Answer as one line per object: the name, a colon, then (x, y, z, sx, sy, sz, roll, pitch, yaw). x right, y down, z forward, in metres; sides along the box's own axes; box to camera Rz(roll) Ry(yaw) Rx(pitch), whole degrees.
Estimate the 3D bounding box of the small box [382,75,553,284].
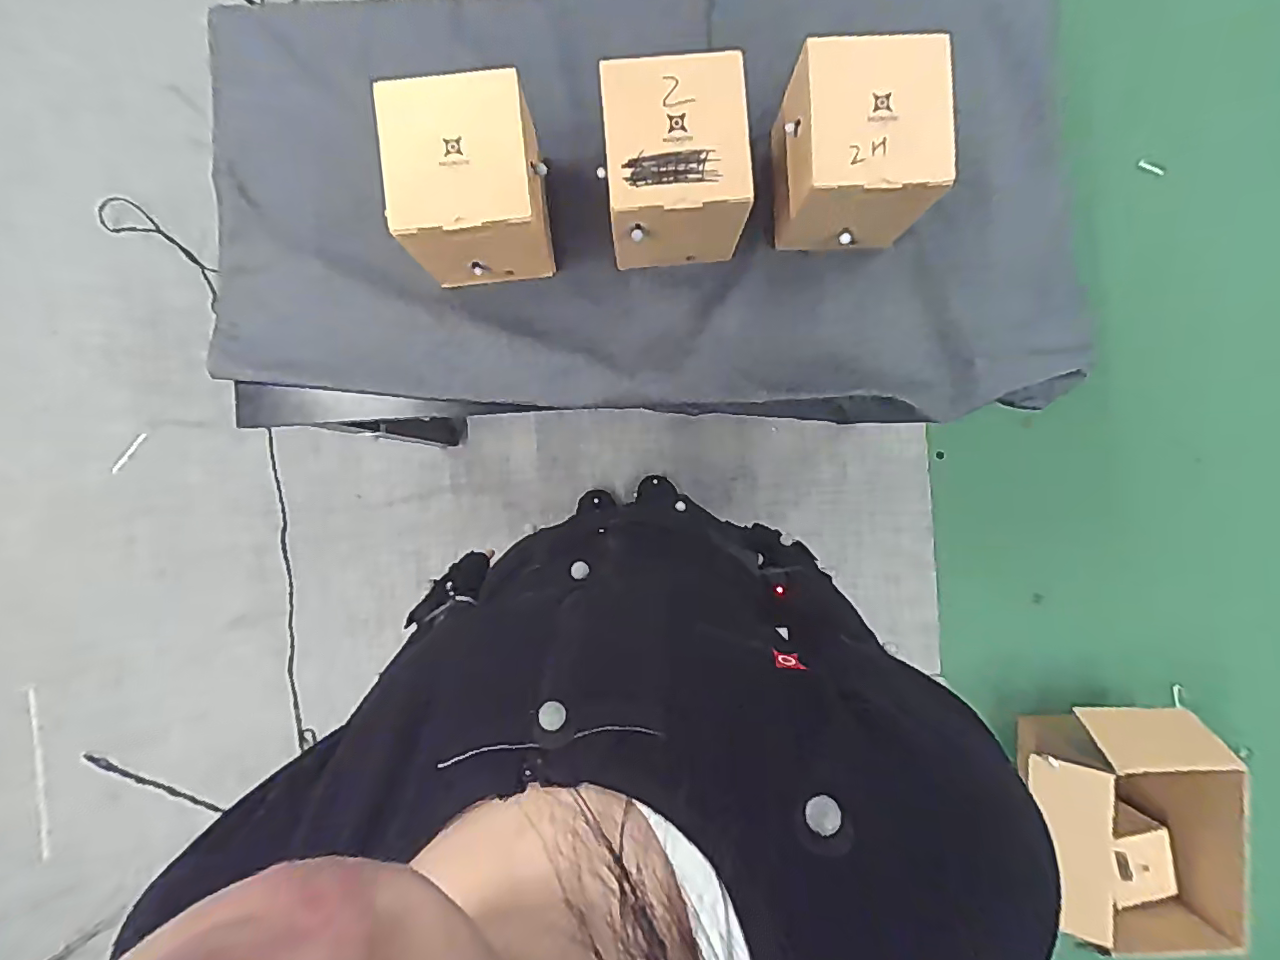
small box: (-0.212, -0.377, 0.705, 0.168, 0.176, 0.179, -6, 90, -1)
